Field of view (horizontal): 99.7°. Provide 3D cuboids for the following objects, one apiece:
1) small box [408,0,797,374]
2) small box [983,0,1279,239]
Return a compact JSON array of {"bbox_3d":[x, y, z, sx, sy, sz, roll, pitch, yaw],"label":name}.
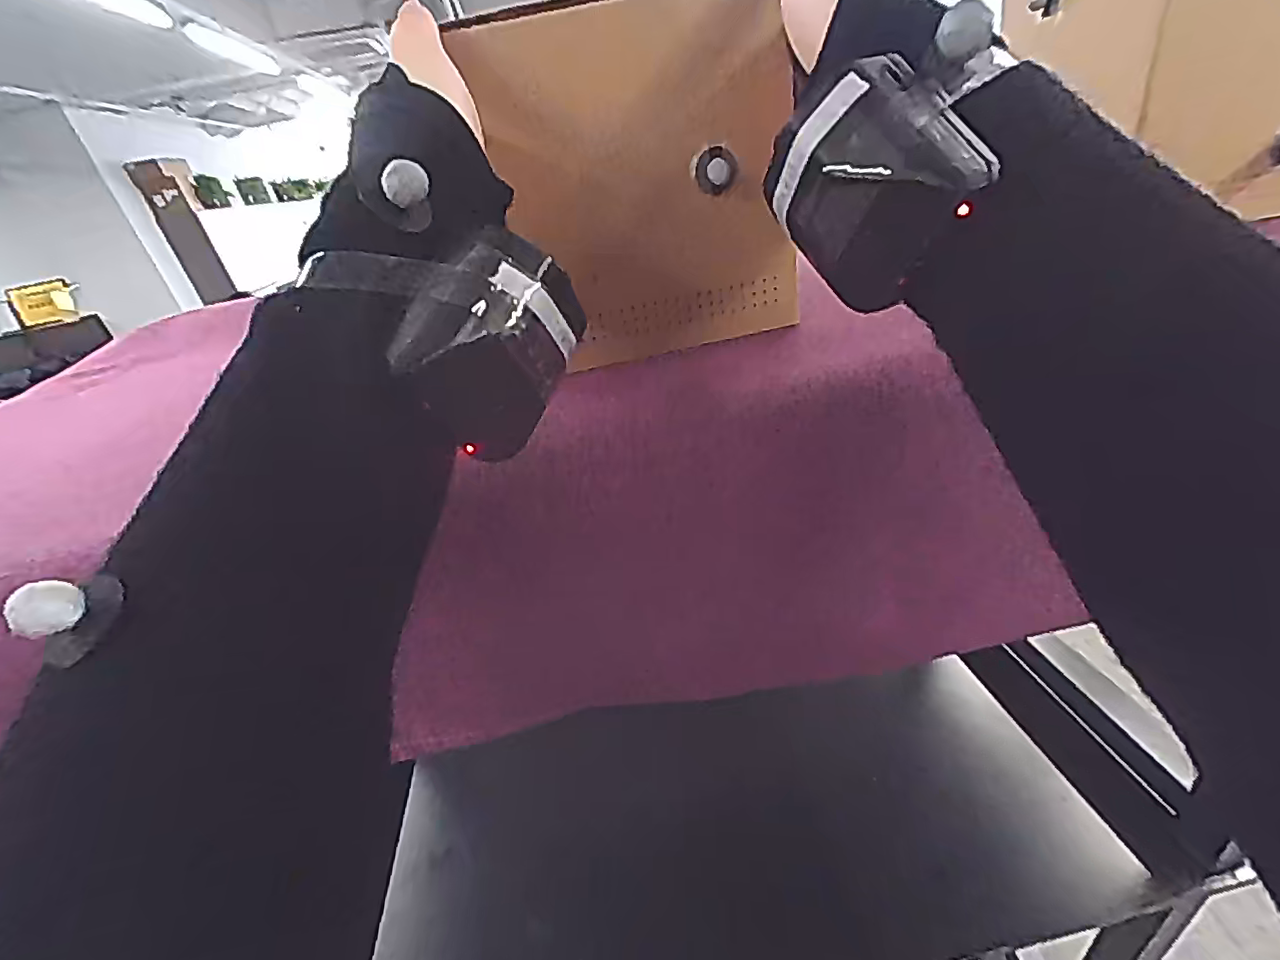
[{"bbox_3d":[-0.013,-0.185,0.344,0.179,0.176,0.168,-13,32,-1],"label":"small box"},{"bbox_3d":[0.364,-0.272,0.357,0.179,0.176,0.168,-8,30,6],"label":"small box"}]
